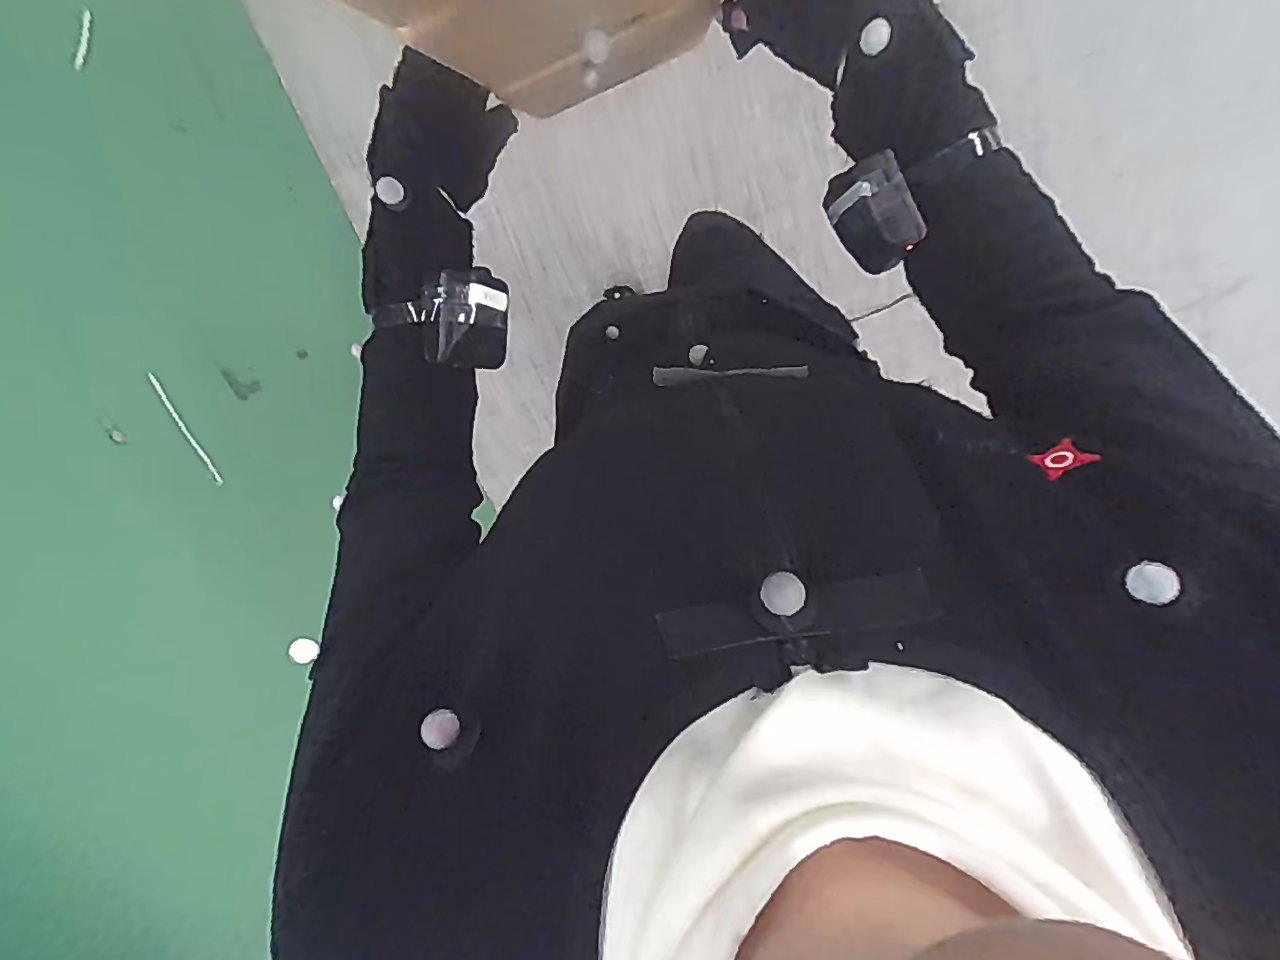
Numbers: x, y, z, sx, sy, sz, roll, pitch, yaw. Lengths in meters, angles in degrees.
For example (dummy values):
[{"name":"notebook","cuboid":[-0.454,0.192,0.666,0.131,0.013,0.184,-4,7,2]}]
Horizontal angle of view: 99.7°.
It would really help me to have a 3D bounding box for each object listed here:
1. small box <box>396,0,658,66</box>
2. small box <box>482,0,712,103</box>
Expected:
[{"name":"small box","cuboid":[-0.053,-0.327,0.240,0.168,0.176,0.179,-17,119,11]},{"name":"small box","cuboid":[-0.051,-0.405,0.385,0.168,0.176,0.179,-17,118,11]}]
